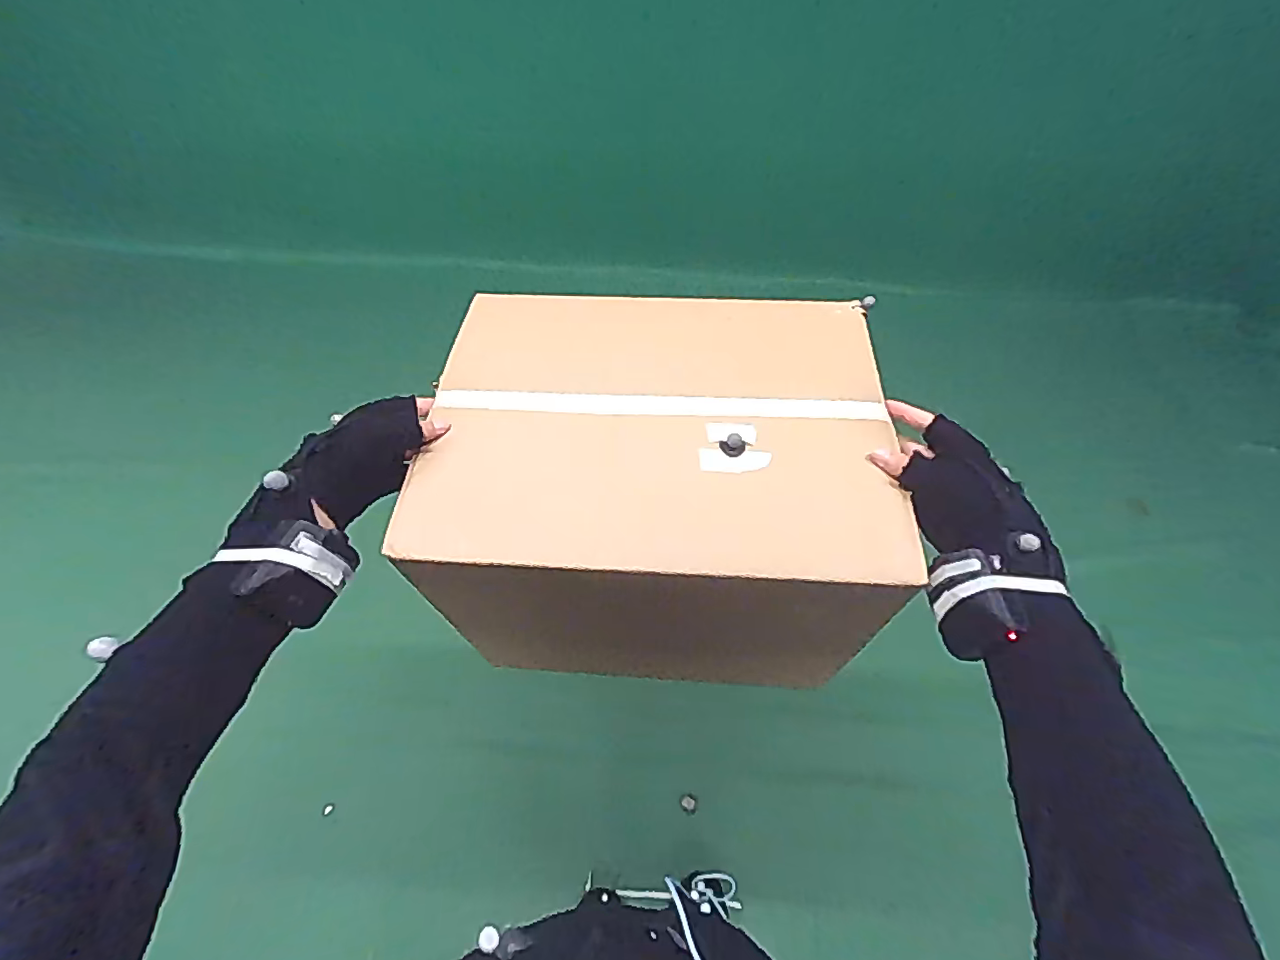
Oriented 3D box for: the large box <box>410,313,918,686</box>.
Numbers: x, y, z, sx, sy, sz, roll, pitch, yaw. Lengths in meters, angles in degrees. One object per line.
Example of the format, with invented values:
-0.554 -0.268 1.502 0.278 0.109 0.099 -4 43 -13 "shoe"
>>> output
0.023 0.033 0.622 0.408 0.320 0.320 3 56 3 "large box"
